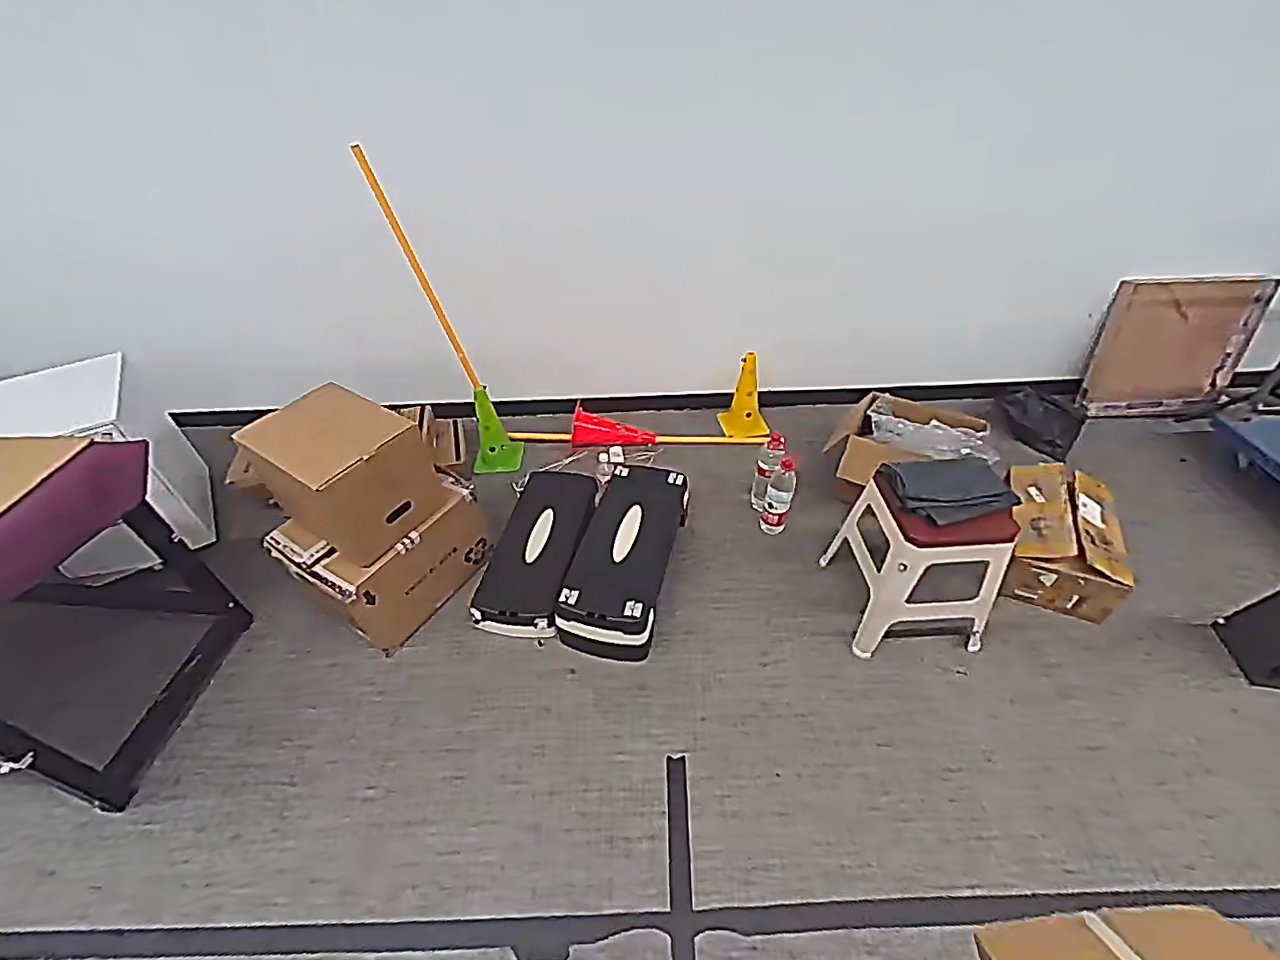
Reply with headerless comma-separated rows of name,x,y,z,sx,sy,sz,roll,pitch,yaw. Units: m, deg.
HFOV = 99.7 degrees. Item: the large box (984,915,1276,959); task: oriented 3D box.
large box,0.635,0.747,0.547,0.320,0.408,0.320,-12,82,9
